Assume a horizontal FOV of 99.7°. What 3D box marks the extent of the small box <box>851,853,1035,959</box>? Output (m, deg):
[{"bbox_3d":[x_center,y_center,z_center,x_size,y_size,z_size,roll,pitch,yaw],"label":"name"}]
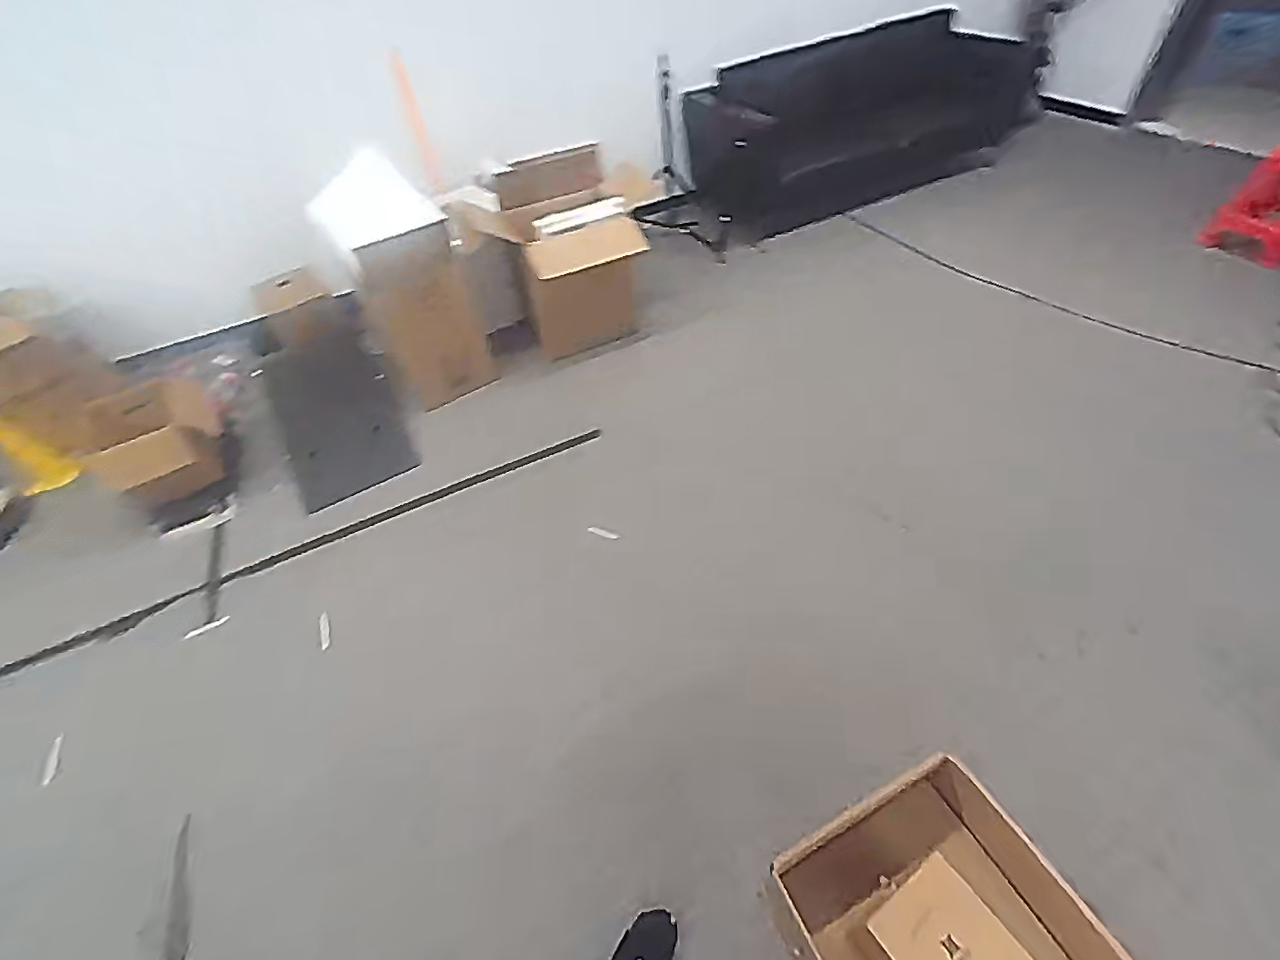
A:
[{"bbox_3d":[0.458,0.722,0.831,0.168,0.176,0.179,-28,50,-19],"label":"small box"}]
